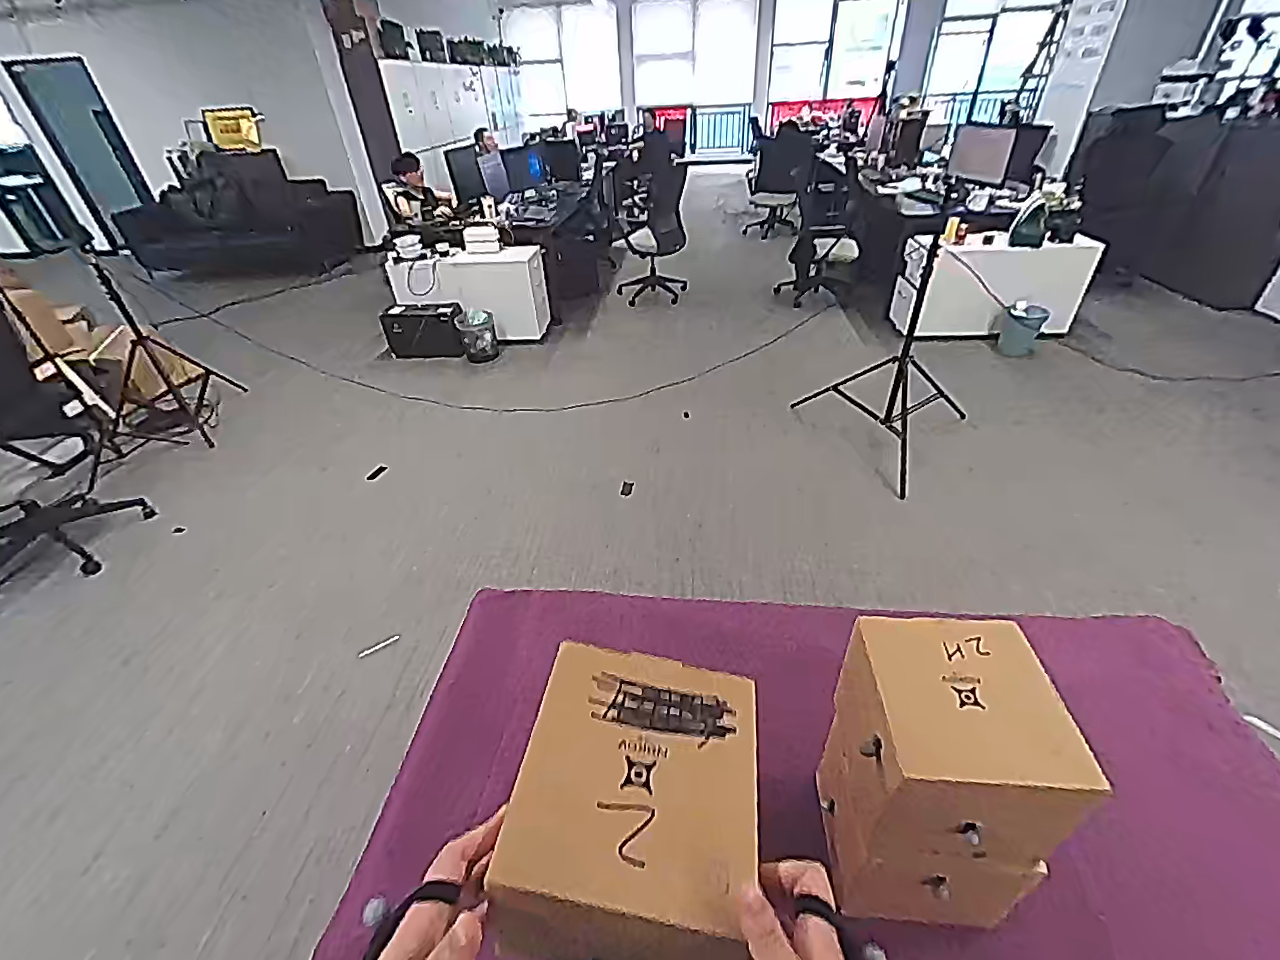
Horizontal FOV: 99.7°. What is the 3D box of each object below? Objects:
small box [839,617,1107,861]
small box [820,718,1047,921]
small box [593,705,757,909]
[{"bbox_3d":[0.317,0.266,0.564,0.168,0.176,0.179,0,35,6],"label":"small box"},{"bbox_3d":[0.331,0.404,0.654,0.179,0.176,0.168,0,36,6],"label":"small box"},{"bbox_3d":[0.046,0.405,0.673,0.179,0.176,0.168,1,36,5],"label":"small box"}]
